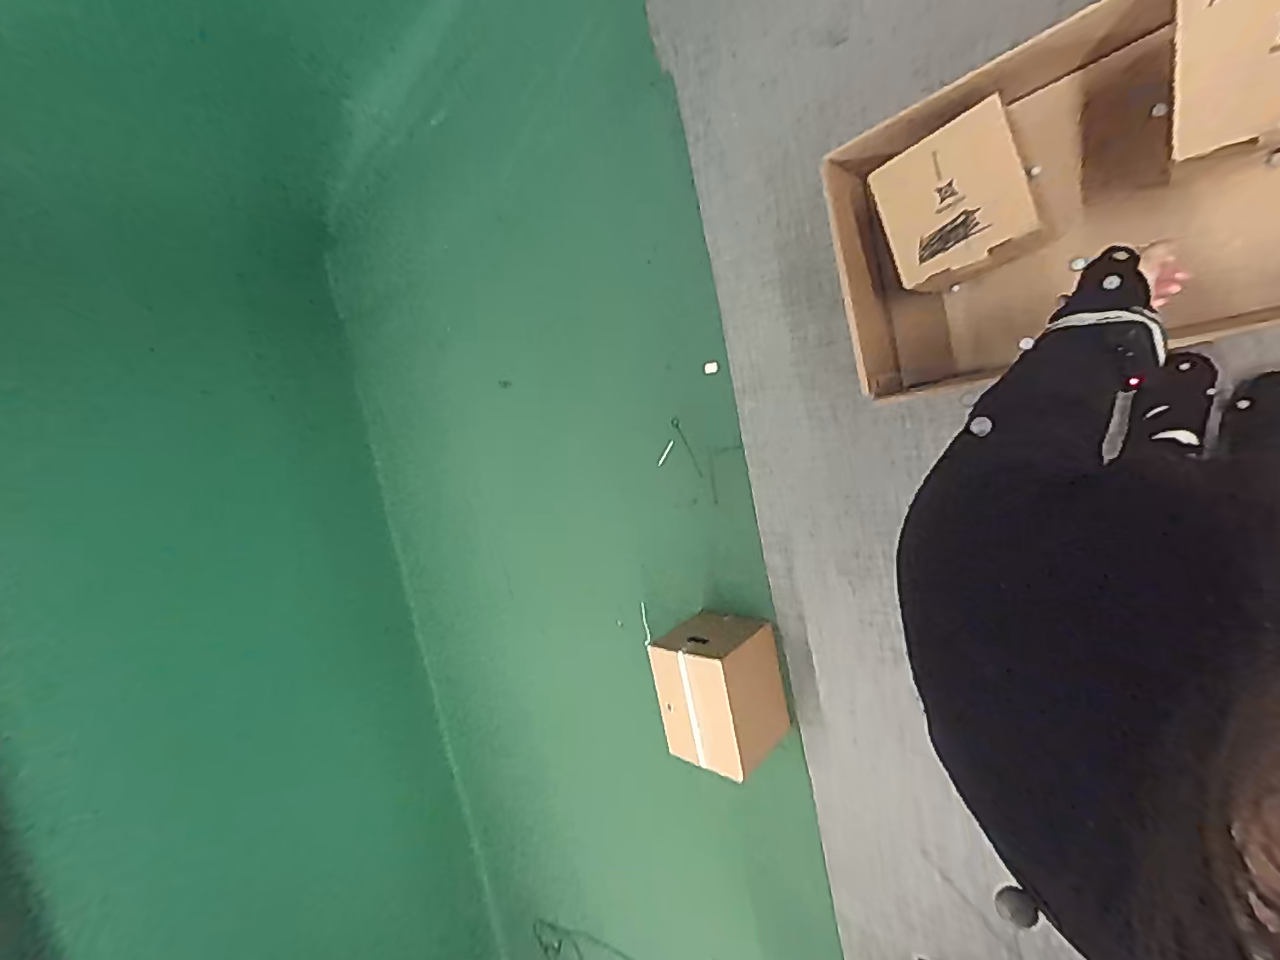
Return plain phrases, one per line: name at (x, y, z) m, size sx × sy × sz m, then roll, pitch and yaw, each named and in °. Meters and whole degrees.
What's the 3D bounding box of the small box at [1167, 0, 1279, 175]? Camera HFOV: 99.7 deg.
small box at (0.669, -0.439, 0.563) m, size 0.168 × 0.176 × 0.179 m, roll 2°, pitch 105°, yaw 44°
